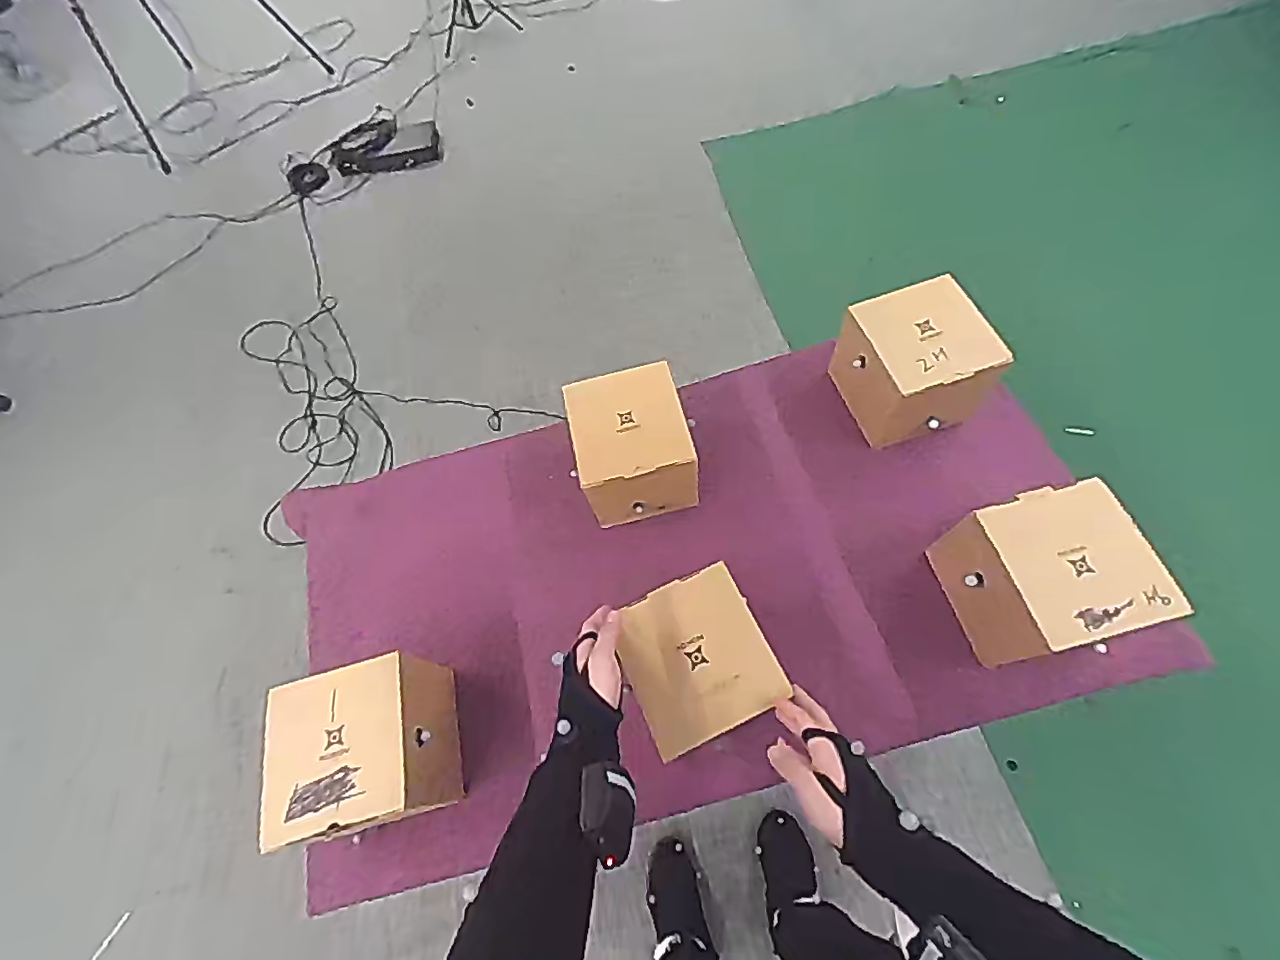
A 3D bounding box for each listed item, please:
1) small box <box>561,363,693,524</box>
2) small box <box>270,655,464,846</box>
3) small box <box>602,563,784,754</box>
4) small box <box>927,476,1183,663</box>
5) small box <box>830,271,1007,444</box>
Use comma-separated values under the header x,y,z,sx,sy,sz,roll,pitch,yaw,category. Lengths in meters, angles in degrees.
x,y,z,sx,sy,sz,roll,pitch,yaw,category
-0.016,-0.051,0.856,0.168,0.176,0.179,-15,66,0,small box
-0.347,0.349,0.714,0.168,0.176,0.179,-16,63,0,small box
0.067,0.238,0.711,0.168,0.176,0.179,-24,65,-3,small box
0.509,0.123,0.701,0.168,0.176,0.179,-16,65,2,small box
0.419,-0.186,0.853,0.168,0.176,0.179,-19,65,2,small box
